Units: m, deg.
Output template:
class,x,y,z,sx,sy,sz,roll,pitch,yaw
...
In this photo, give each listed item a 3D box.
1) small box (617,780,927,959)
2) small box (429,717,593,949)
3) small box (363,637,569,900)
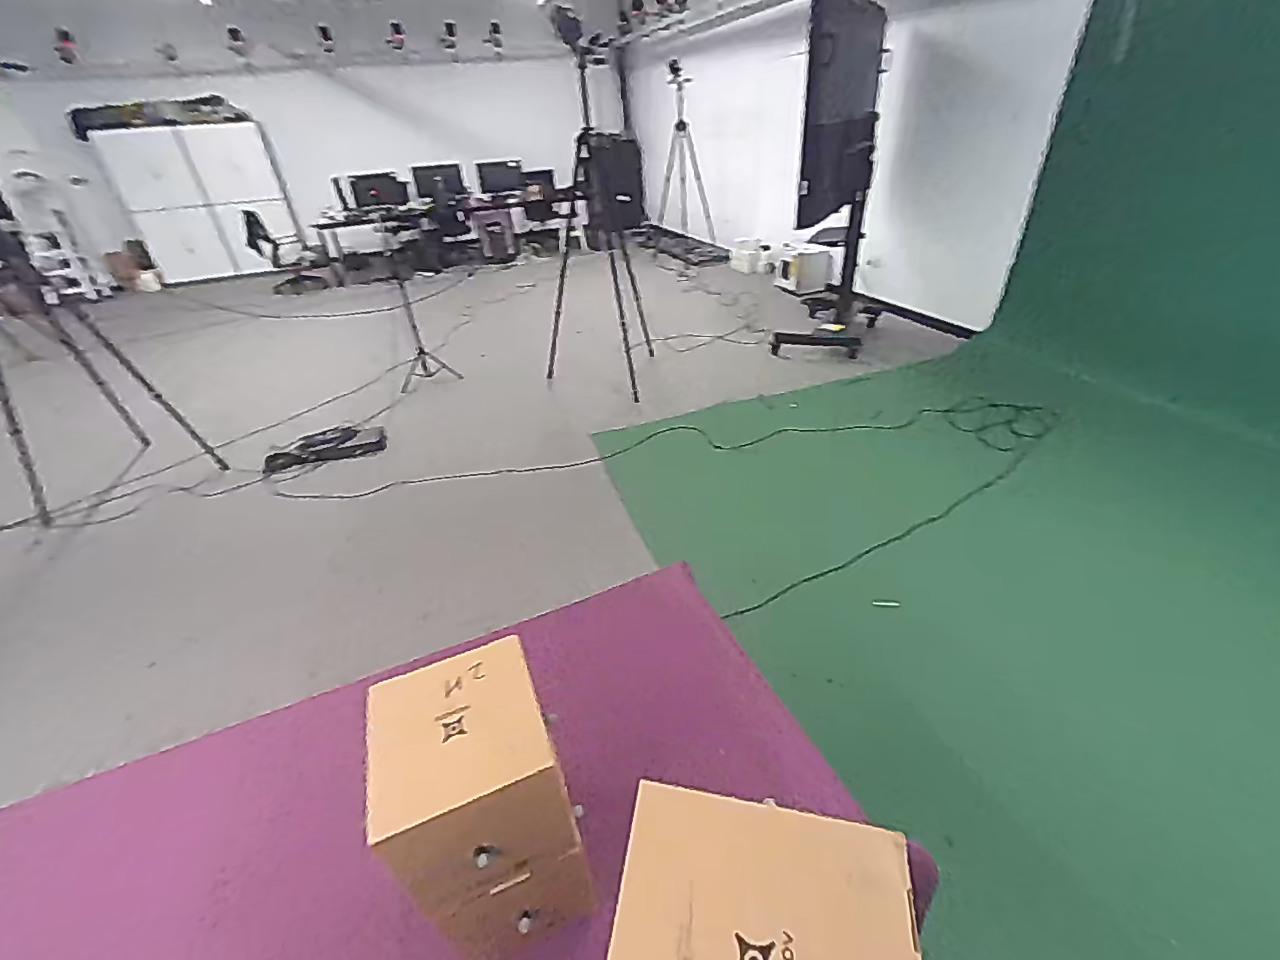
class,x,y,z,sx,sy,sz,roll,pitch,yaw
small box,0.080,0.334,0.367,0.179,0.176,0.168,6,45,12
small box,-0.166,0.446,0.684,0.168,0.176,0.179,-16,36,-17
small box,-0.182,0.311,0.587,0.168,0.176,0.179,-14,33,-16
